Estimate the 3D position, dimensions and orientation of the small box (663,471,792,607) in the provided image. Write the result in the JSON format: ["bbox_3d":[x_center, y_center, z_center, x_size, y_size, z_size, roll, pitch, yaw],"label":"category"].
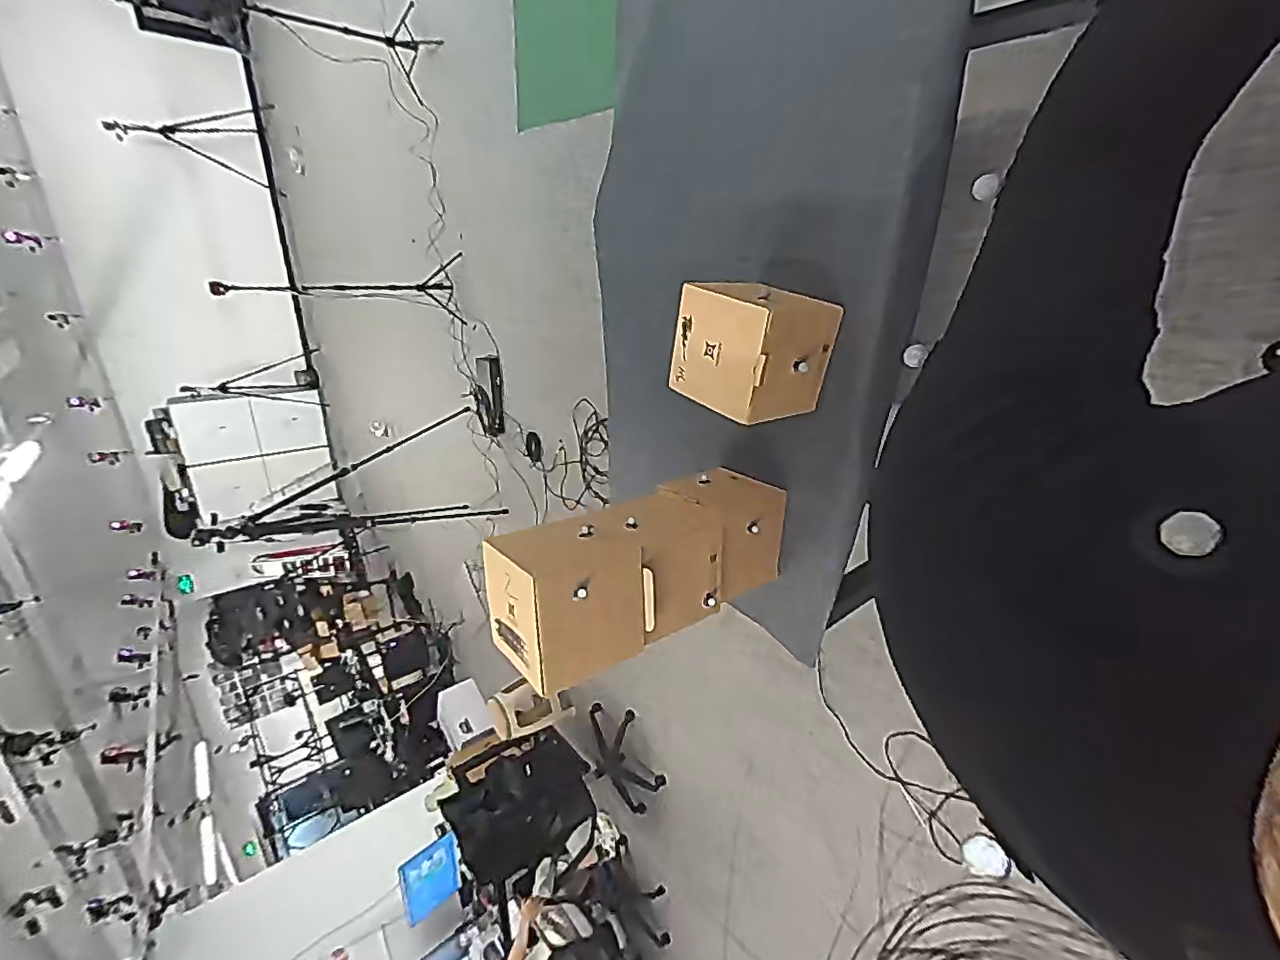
[{"bbox_3d":[0.156,0.094,0.984,0.168,0.176,0.179,25,122,49],"label":"small box"}]

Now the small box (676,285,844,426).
[{"bbox_3d":[0.183,-0.202,0.836,0.179,0.176,0.168,35,129,41],"label":"small box"}]

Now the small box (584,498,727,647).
[{"bbox_3d":[0.028,0.139,0.891,0.179,0.176,0.168,20,117,51],"label":"small box"}]
